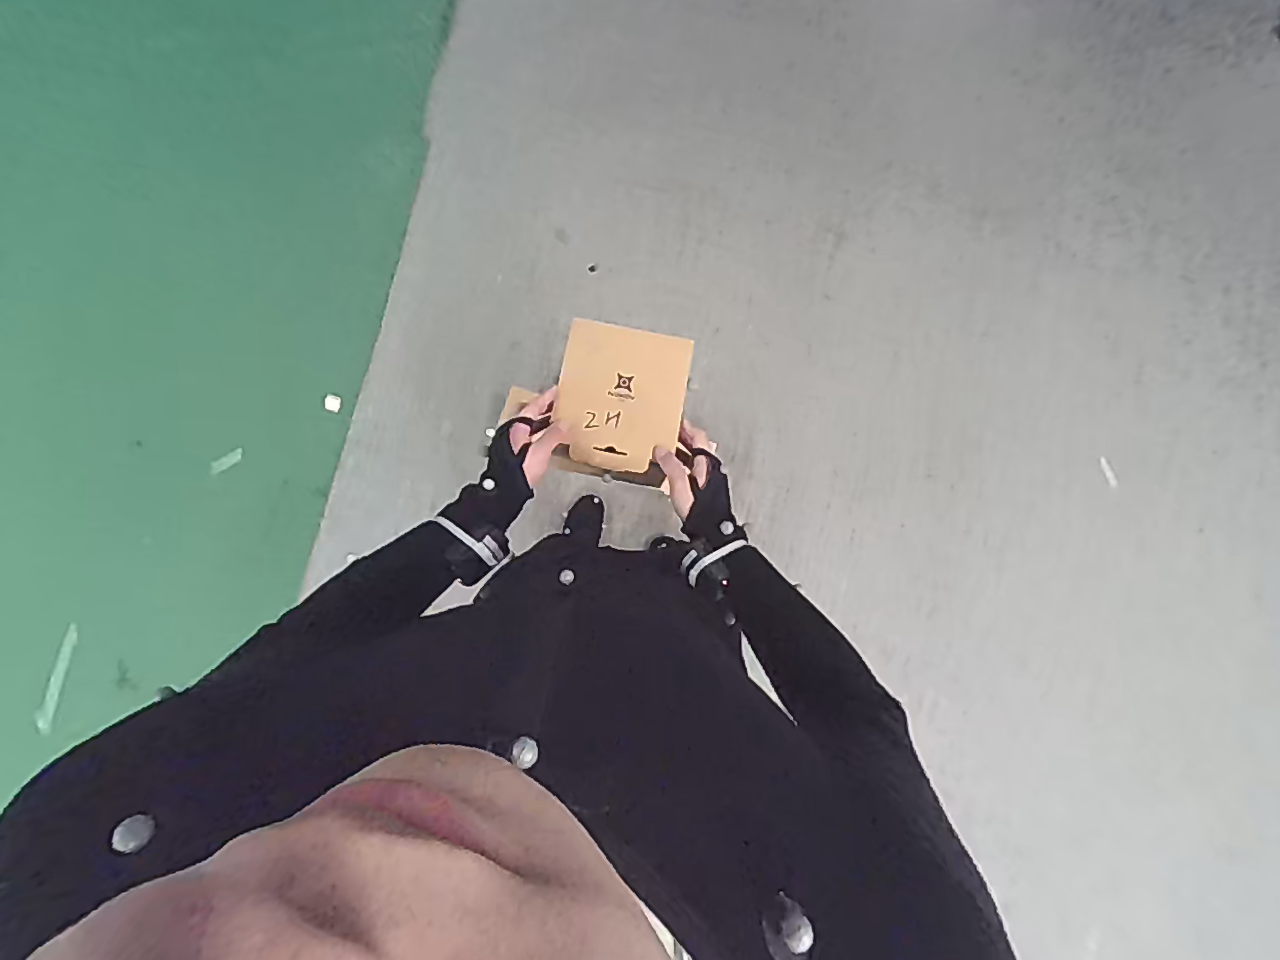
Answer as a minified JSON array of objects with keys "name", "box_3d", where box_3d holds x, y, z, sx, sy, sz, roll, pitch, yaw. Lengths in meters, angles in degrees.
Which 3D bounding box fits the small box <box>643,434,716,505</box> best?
[{"name":"small box","box_3d":[0.113,-0.034,1.578,0.168,0.176,0.179,17,88,1]}]

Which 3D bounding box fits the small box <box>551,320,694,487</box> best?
[{"name":"small box","box_3d":[-0.027,-0.100,0.781,0.168,0.176,0.179,10,78,-2]}]

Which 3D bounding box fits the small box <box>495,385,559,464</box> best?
[{"name":"small box","box_3d":[-0.306,-0.156,1.606,0.168,0.176,0.179,20,86,1]}]
